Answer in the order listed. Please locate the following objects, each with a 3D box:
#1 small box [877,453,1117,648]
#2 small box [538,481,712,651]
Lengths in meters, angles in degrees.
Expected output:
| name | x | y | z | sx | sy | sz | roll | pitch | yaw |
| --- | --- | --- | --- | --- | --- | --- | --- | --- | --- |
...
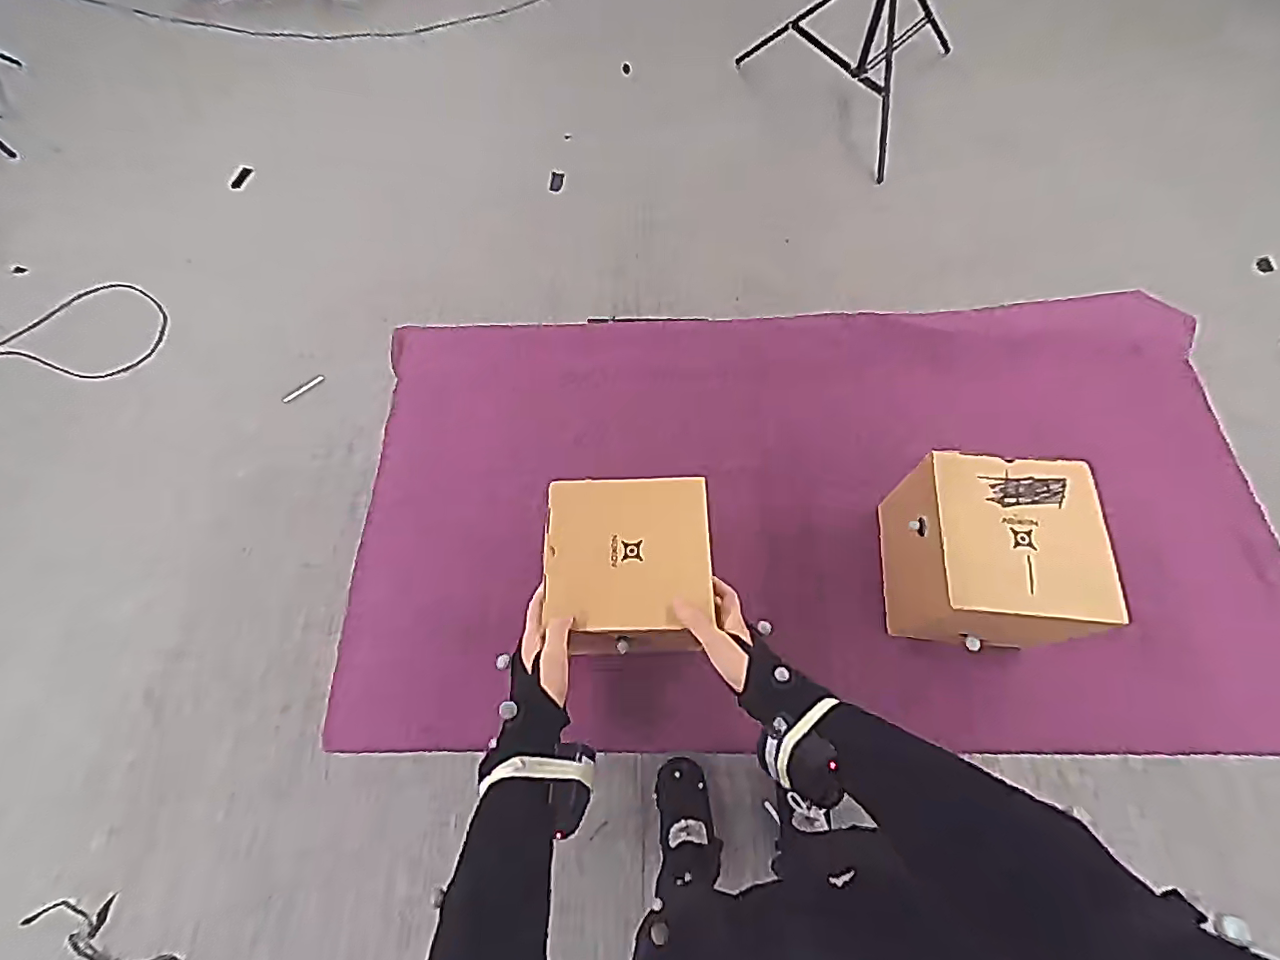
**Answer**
| name | x | y | z | sx | sy | sz | roll | pitch | yaw |
| --- | --- | --- | --- | --- | --- | --- | --- | --- | --- |
| small box | 0.389 | 0.088 | 0.631 | 0.168 | 0.176 | 0.179 | 5 | 66 | 5 |
| small box | -0.013 | 0.109 | 0.642 | 0.179 | 0.176 | 0.168 | -2 | 66 | 2 |
